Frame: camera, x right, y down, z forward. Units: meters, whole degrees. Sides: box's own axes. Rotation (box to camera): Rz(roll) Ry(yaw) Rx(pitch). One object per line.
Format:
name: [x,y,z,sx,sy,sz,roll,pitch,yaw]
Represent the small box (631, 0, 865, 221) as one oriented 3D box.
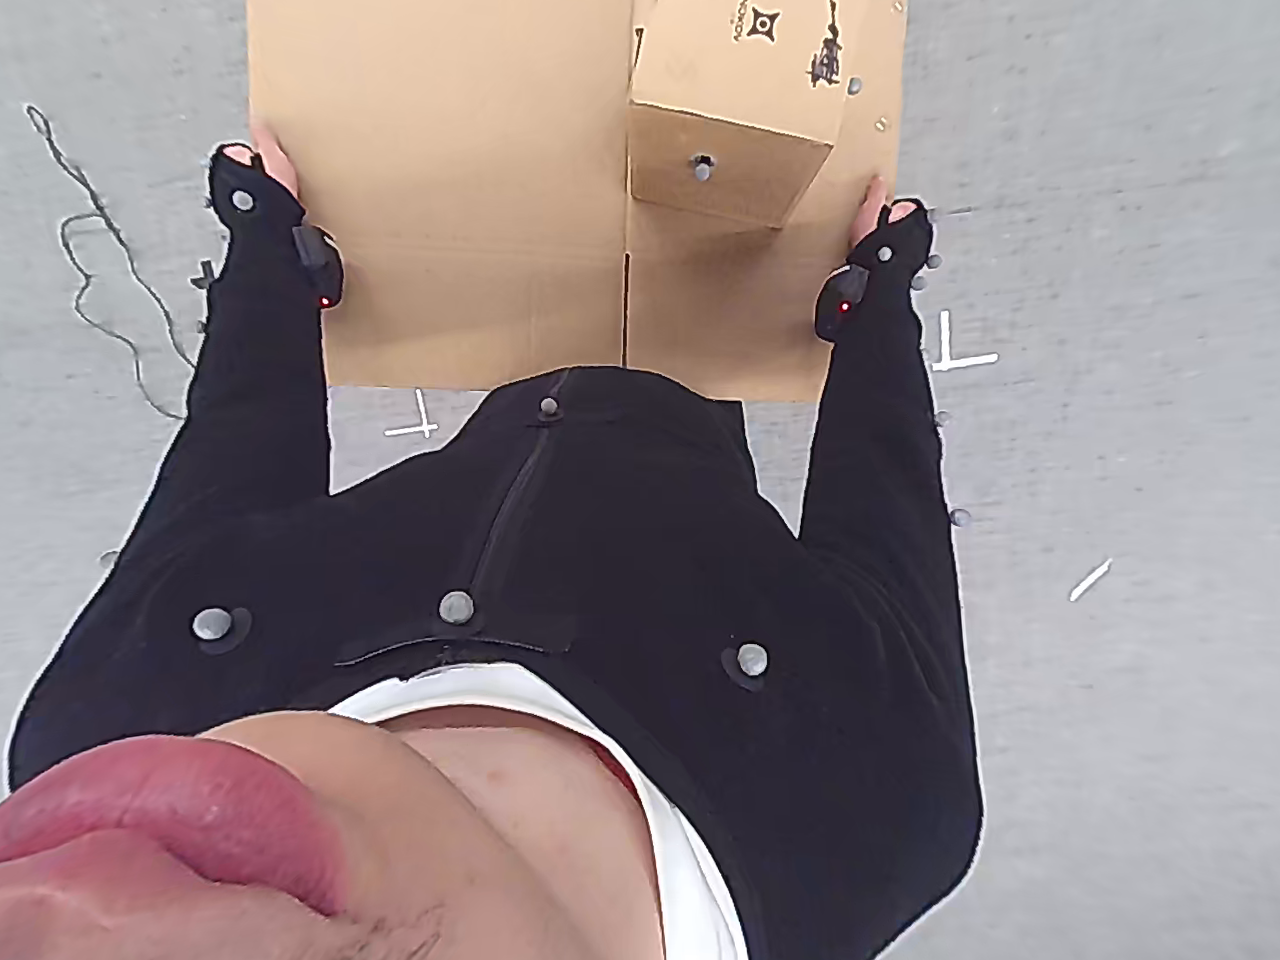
small box: [0.095,-0.377,0.525,0.179,0.176,0.168,12,93,1]
